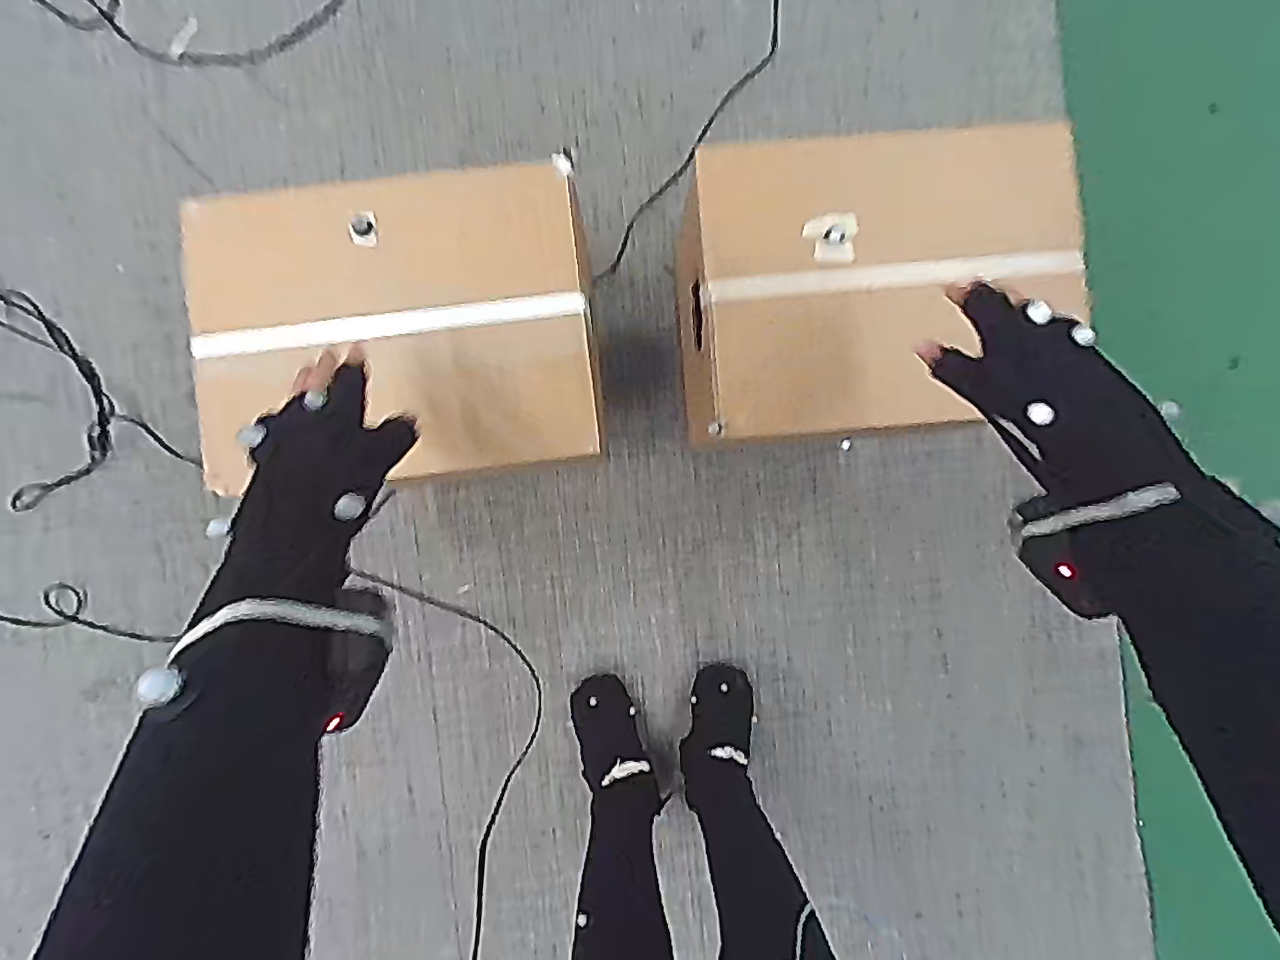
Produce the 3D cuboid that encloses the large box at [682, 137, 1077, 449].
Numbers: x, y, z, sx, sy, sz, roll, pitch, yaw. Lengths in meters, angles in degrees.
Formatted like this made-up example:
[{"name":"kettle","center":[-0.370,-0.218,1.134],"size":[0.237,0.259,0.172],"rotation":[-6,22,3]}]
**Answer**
[{"name":"large box","center":[0.279,-0.213,0.746],"size":[0.408,0.320,0.320],"rotation":[-4,90,0]}]
